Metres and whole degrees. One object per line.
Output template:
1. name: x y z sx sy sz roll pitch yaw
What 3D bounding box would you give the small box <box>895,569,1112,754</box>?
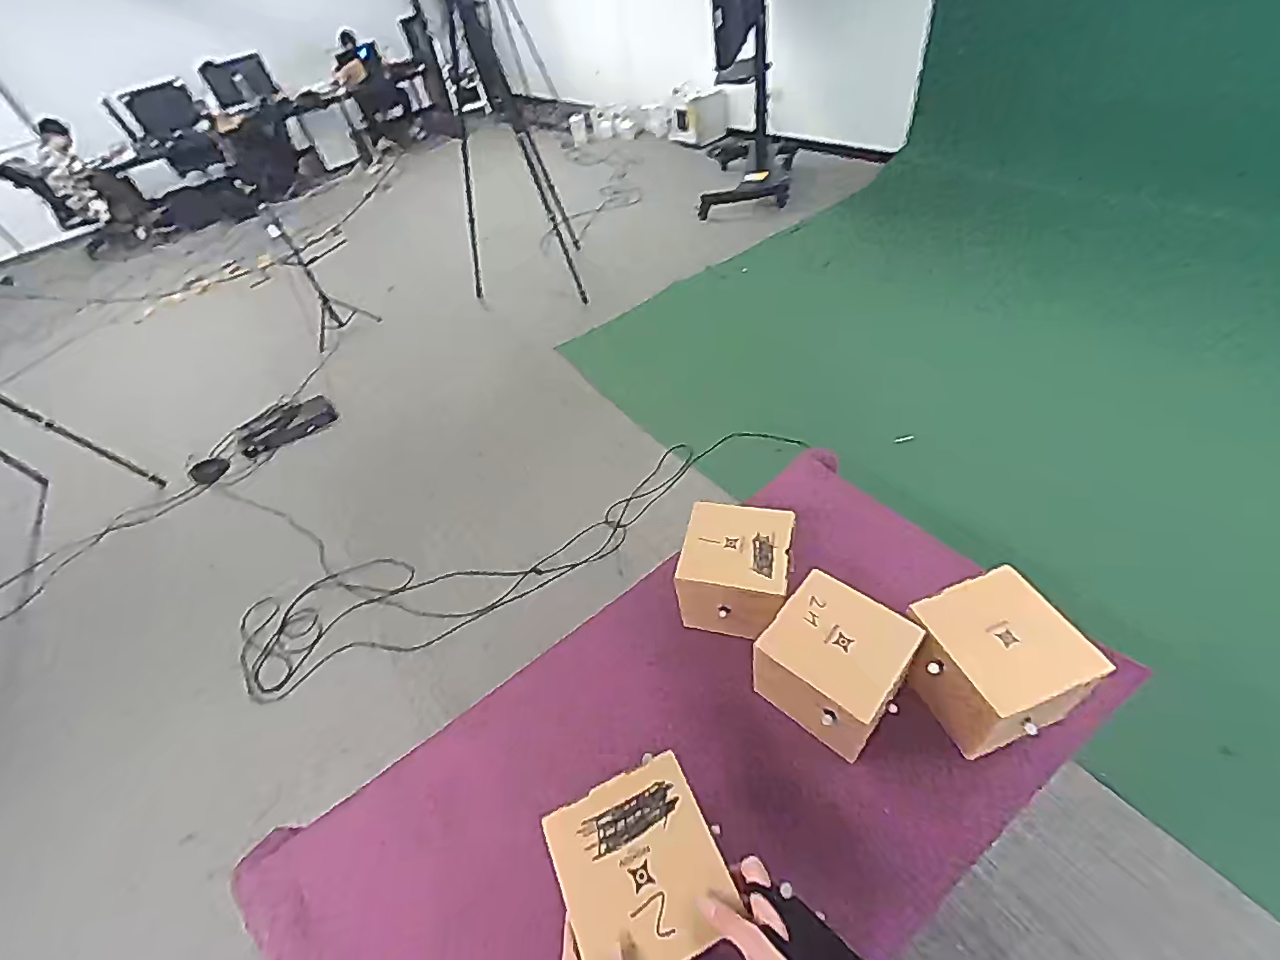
1. small box: 0.497 0.265 0.773 0.168 0.176 0.179 -20 45 -5
